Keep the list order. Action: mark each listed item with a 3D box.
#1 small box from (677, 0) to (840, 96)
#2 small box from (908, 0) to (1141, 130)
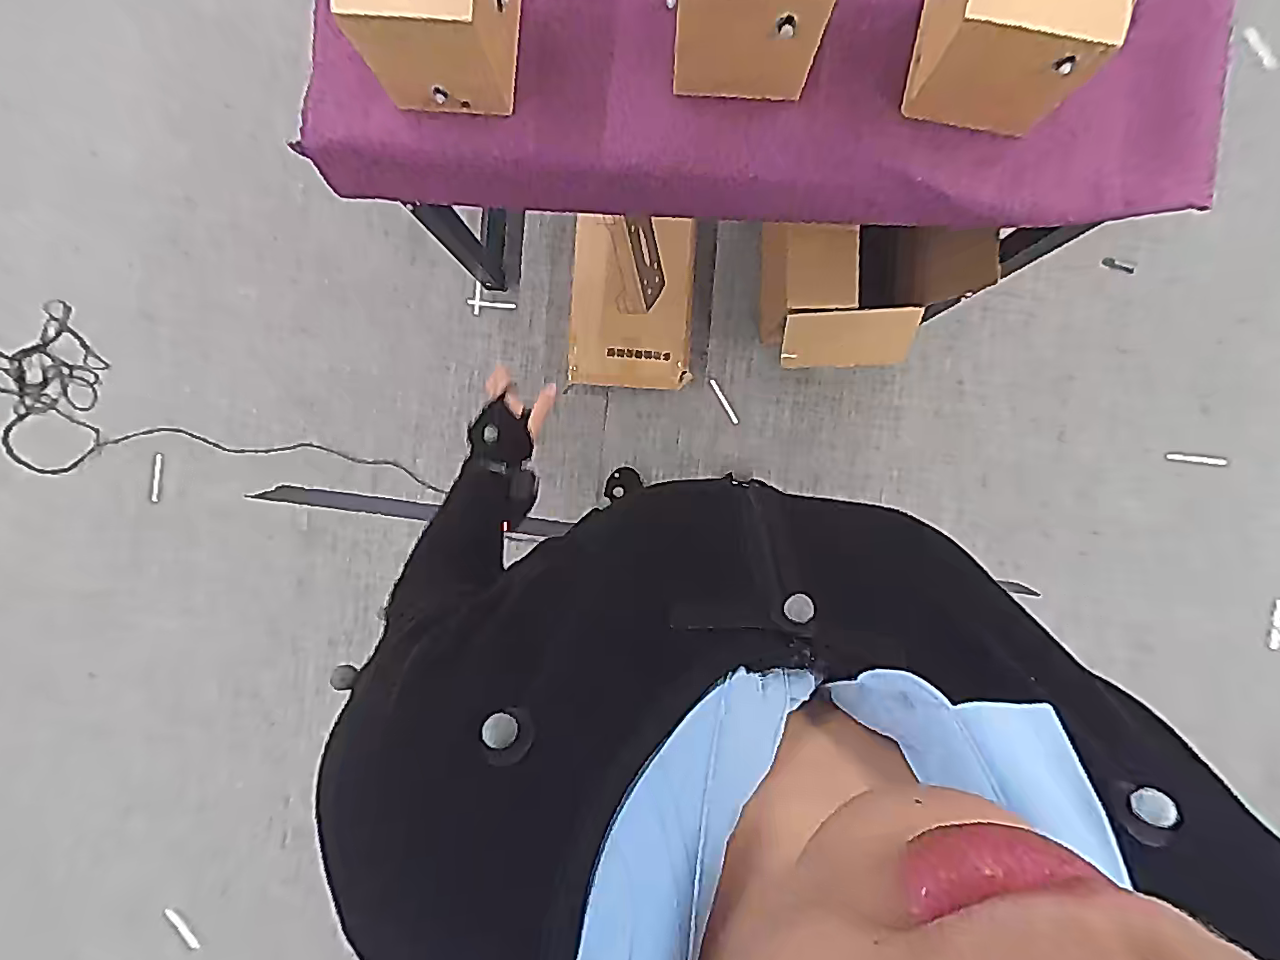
[{"bbox_3d":[0.142,-0.611,0.663,0.179,0.176,0.168,4,89,2],"label":"small box"},{"bbox_3d":[0.457,-0.563,0.654,0.179,0.176,0.168,11,92,1],"label":"small box"}]
